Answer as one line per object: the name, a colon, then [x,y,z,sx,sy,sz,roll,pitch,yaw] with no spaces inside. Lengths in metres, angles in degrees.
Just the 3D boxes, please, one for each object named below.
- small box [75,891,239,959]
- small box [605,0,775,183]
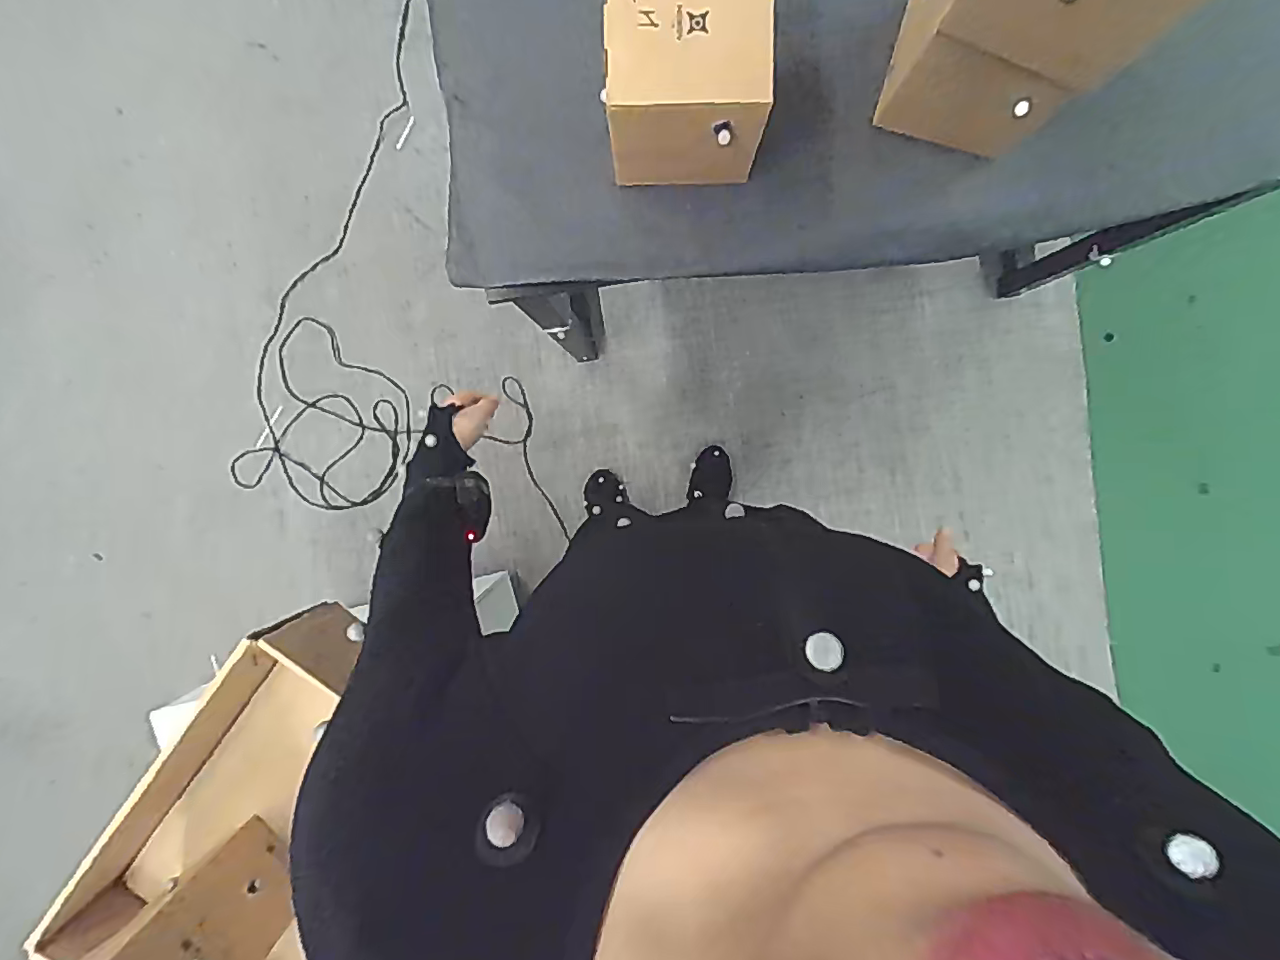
small box: [-0.667,0.686,0.681,0.179,0.176,0.168,-36,95,3]
small box: [0.054,-0.472,0.635,0.179,0.176,0.168,0,93,3]
